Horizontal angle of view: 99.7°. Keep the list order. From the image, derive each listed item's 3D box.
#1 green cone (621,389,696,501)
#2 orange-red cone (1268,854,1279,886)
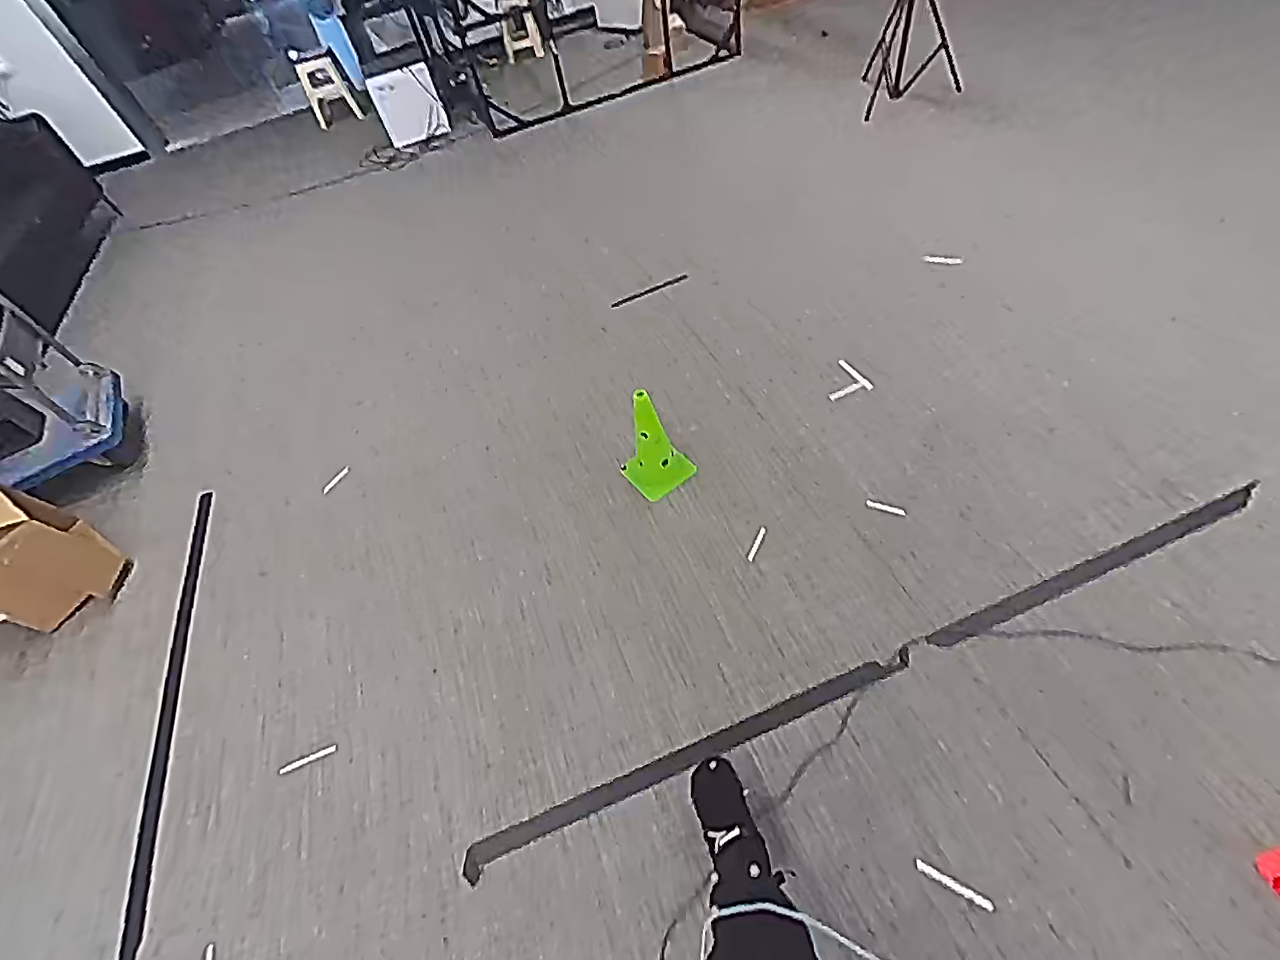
[{"bbox_3d":[0.035,-0.137,1.696,0.202,0.368,0.200,-35,54,-16],"label":"green cone"},{"bbox_3d":[1.242,0.653,0.818,0.199,0.360,0.198,-18,51,0],"label":"orange-red cone"}]
